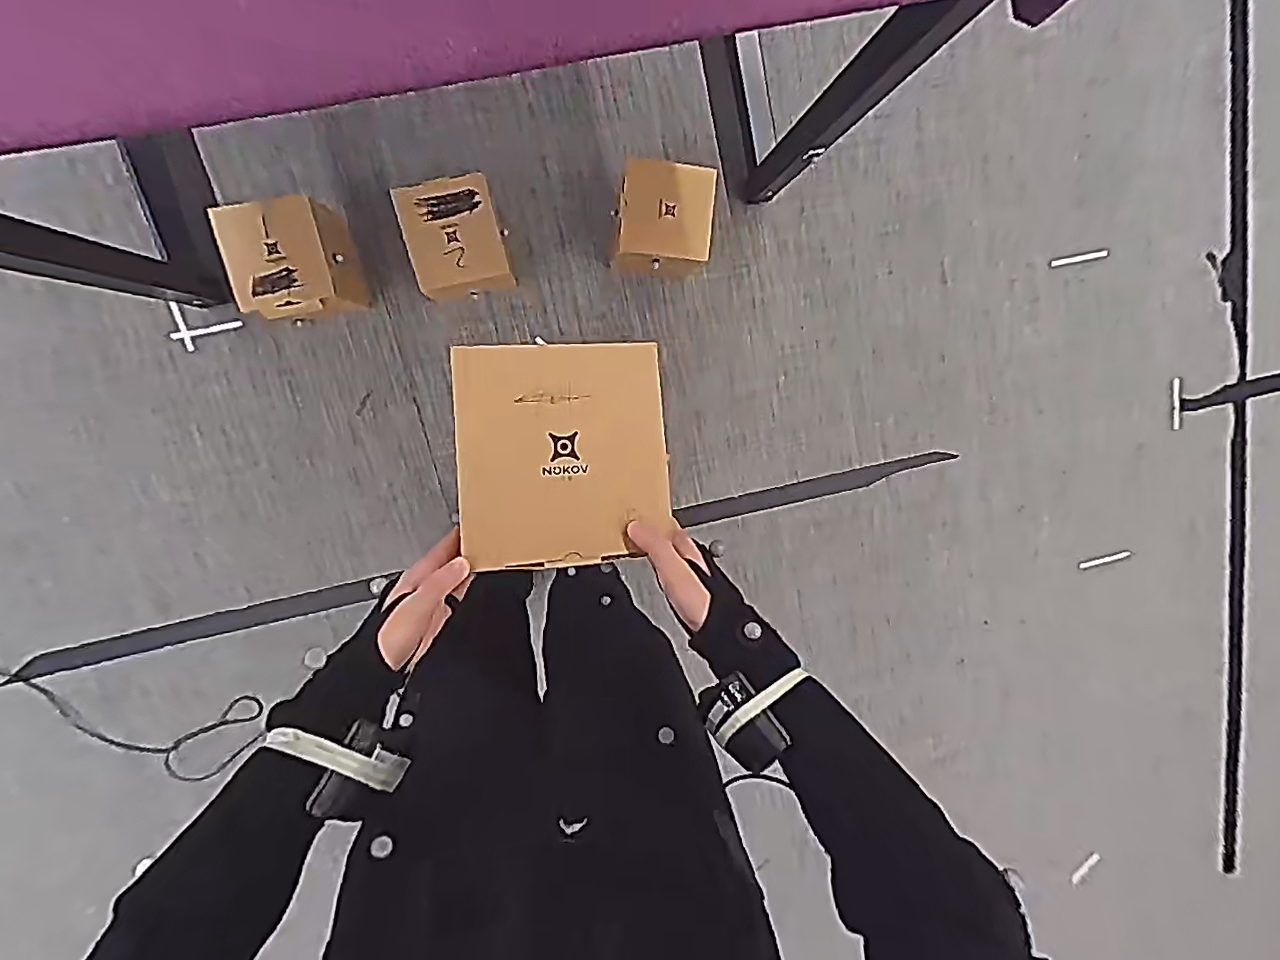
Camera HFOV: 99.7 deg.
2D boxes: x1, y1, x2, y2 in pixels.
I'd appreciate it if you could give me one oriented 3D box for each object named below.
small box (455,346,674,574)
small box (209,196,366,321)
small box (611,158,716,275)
[{"bbox_3d":[-0.073,-0.013,0.504,0.168,0.176,0.179,-4,85,-13],"label":"small box"},{"bbox_3d":[-0.638,-0.399,1.005,0.168,0.176,0.179,-12,101,-6],"label":"small box"},{"bbox_3d":[0.040,-0.515,1.083,0.179,0.176,0.168,4,101,-7],"label":"small box"}]
